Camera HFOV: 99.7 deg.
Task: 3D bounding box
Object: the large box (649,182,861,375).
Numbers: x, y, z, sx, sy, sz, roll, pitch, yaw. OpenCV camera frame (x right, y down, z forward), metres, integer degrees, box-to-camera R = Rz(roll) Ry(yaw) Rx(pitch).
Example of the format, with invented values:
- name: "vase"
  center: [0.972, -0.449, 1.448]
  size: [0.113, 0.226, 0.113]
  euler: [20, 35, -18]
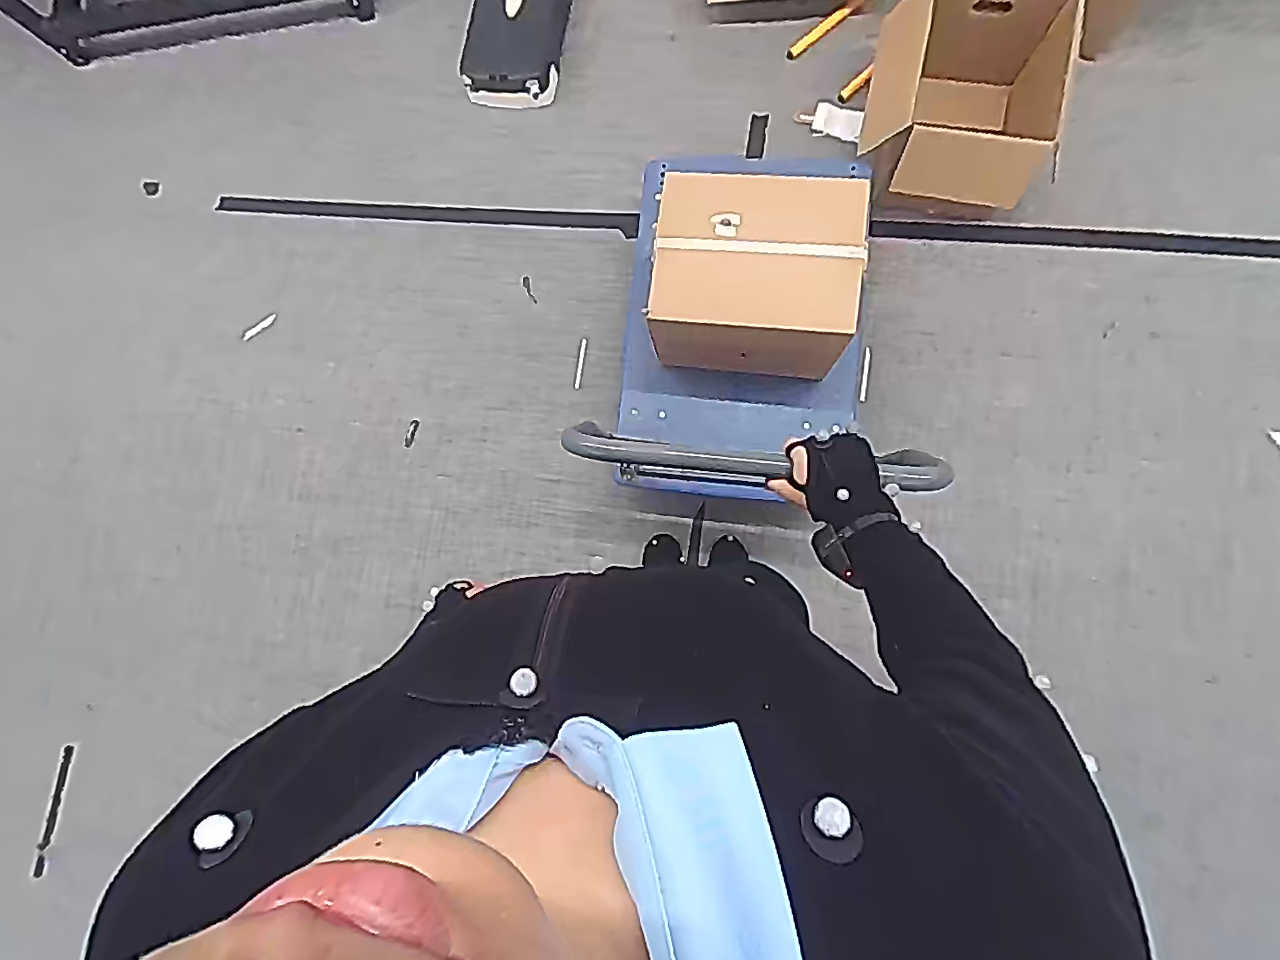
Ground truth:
- name: "large box"
  center: [0.251, -0.437, 1.226]
  size: [0.408, 0.320, 0.320]
  euler: [6, 84, 9]
